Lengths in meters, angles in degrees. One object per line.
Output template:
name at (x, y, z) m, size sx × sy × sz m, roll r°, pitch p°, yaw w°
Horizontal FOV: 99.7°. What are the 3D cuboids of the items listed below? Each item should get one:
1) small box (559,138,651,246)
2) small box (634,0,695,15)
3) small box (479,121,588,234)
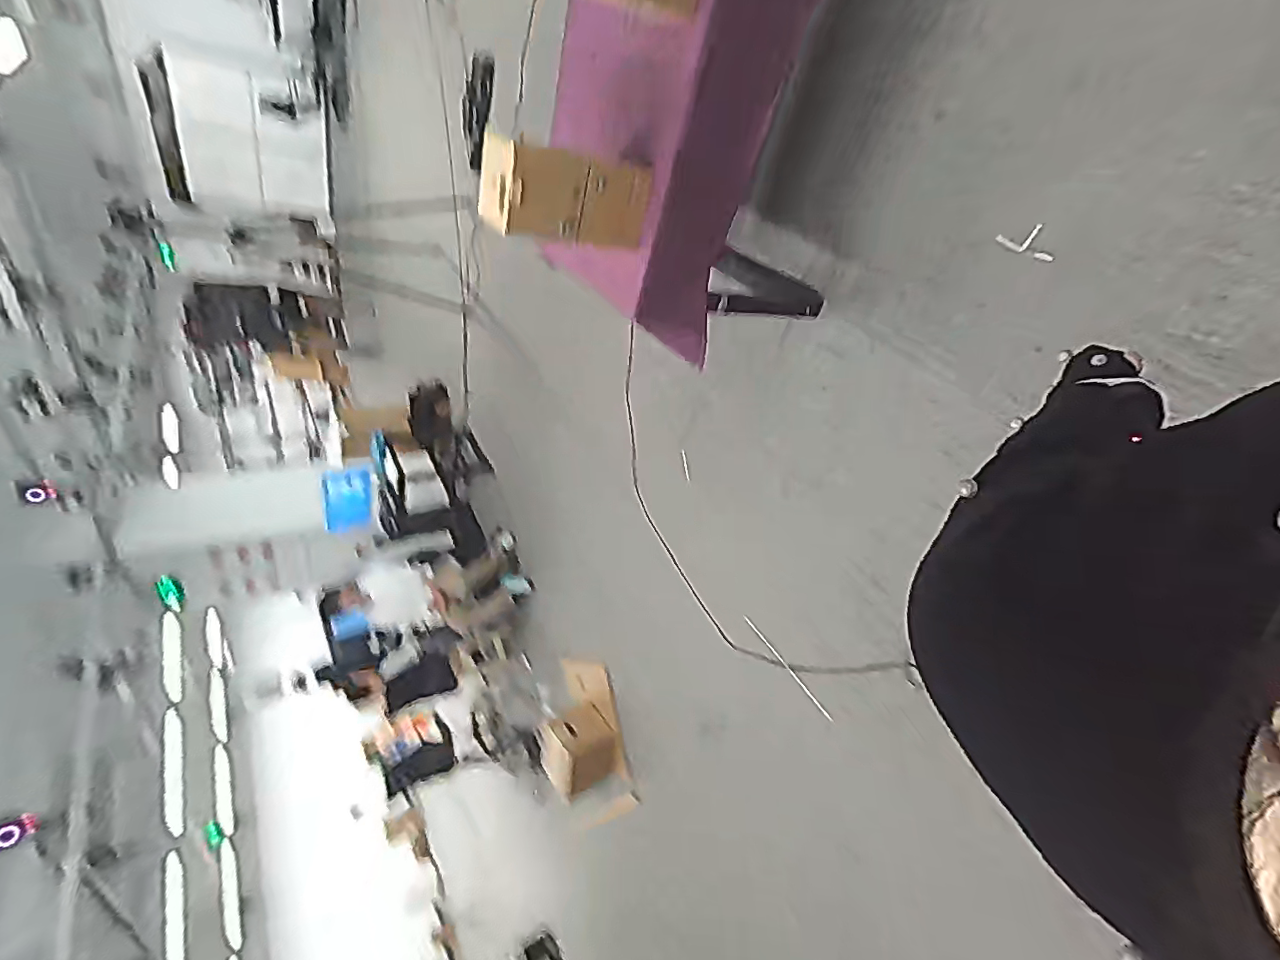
small box at (-0.096, -0.663, 1.255) m, size 0.168 × 0.176 × 0.179 m, roll 49°, pitch 133°, yaw 38°
small box at (0.020, -1.007, 1.006) m, size 0.168 × 0.176 × 0.179 m, roll 50°, pitch 135°, yaw 36°
small box at (-0.230, -0.643, 1.162) m, size 0.179 × 0.176 × 0.168 m, roll 50°, pitch 134°, yaw 39°
